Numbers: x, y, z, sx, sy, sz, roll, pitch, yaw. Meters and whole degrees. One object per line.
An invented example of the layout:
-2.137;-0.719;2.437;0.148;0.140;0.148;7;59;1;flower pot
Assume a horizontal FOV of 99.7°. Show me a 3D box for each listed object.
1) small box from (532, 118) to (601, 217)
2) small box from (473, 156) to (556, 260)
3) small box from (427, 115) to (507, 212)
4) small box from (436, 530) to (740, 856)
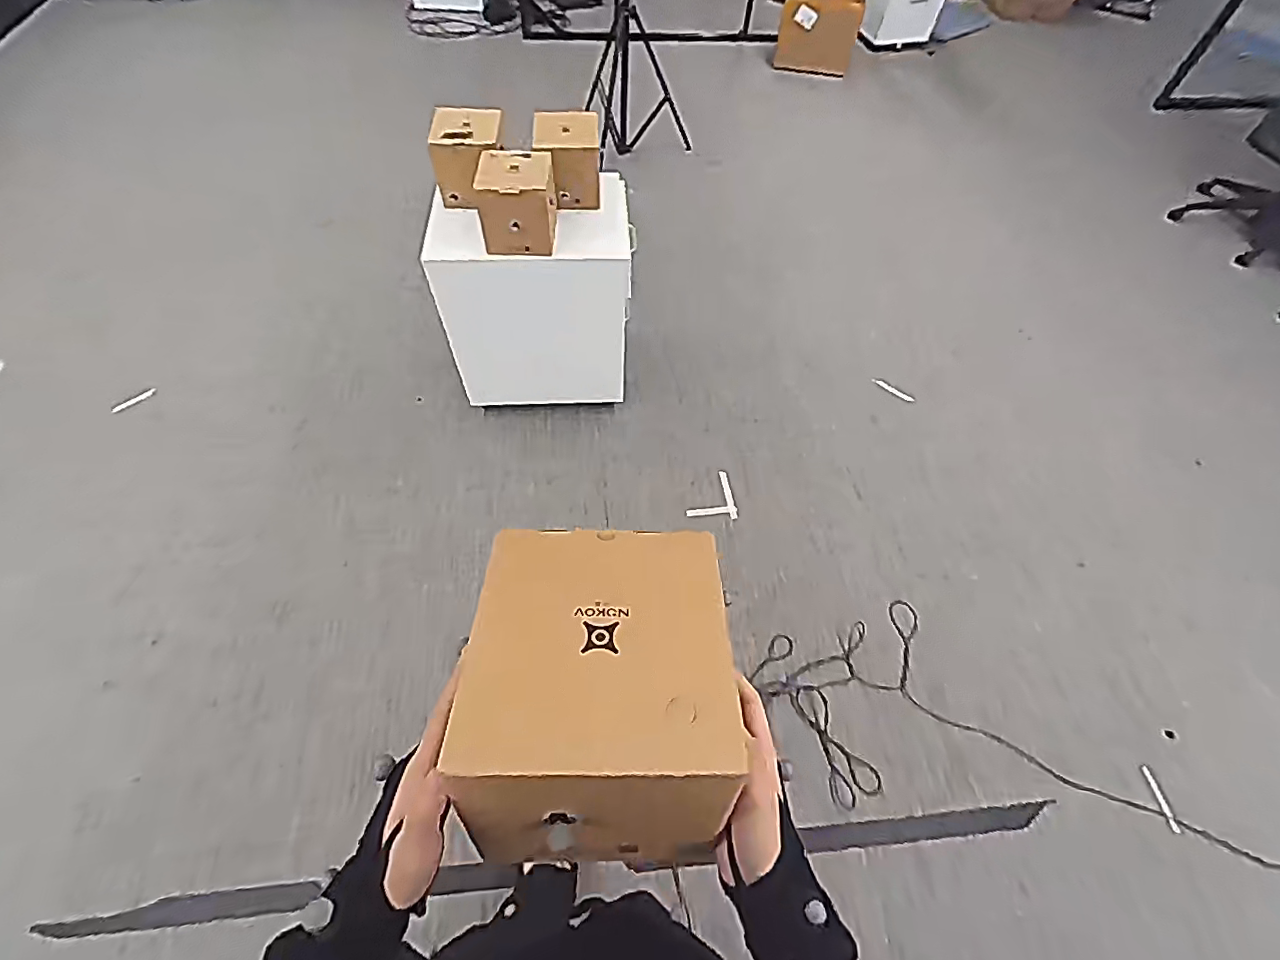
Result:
-0.191;-0.830;1.439;0.168;0.176;0.179;-3;60;-3;small box
-0.299;-0.662;1.325;0.168;0.176;0.179;0;58;-3;small box
-0.441;-0.825;1.419;0.168;0.176;0.179;-1;58;-4;small box
-0.031;0.156;0.398;0.168;0.176;0.179;0;41;-3;small box
